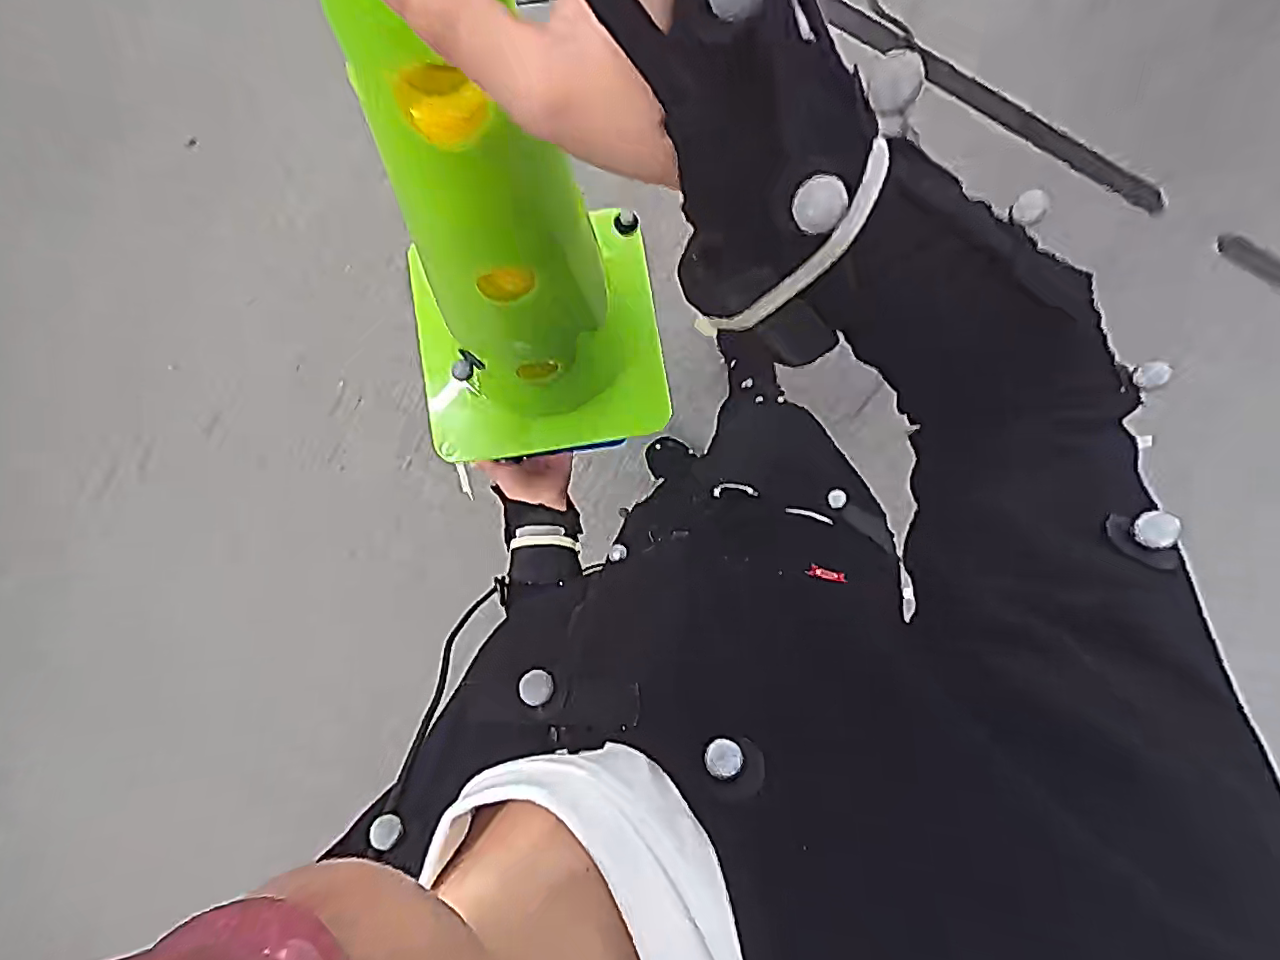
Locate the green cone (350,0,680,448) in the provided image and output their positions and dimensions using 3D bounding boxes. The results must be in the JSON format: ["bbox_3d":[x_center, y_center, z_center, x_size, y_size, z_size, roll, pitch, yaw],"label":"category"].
[{"bbox_3d":[-0.066,-0.144,0.270,0.200,0.368,0.202,-9,87,-4],"label":"green cone"}]
